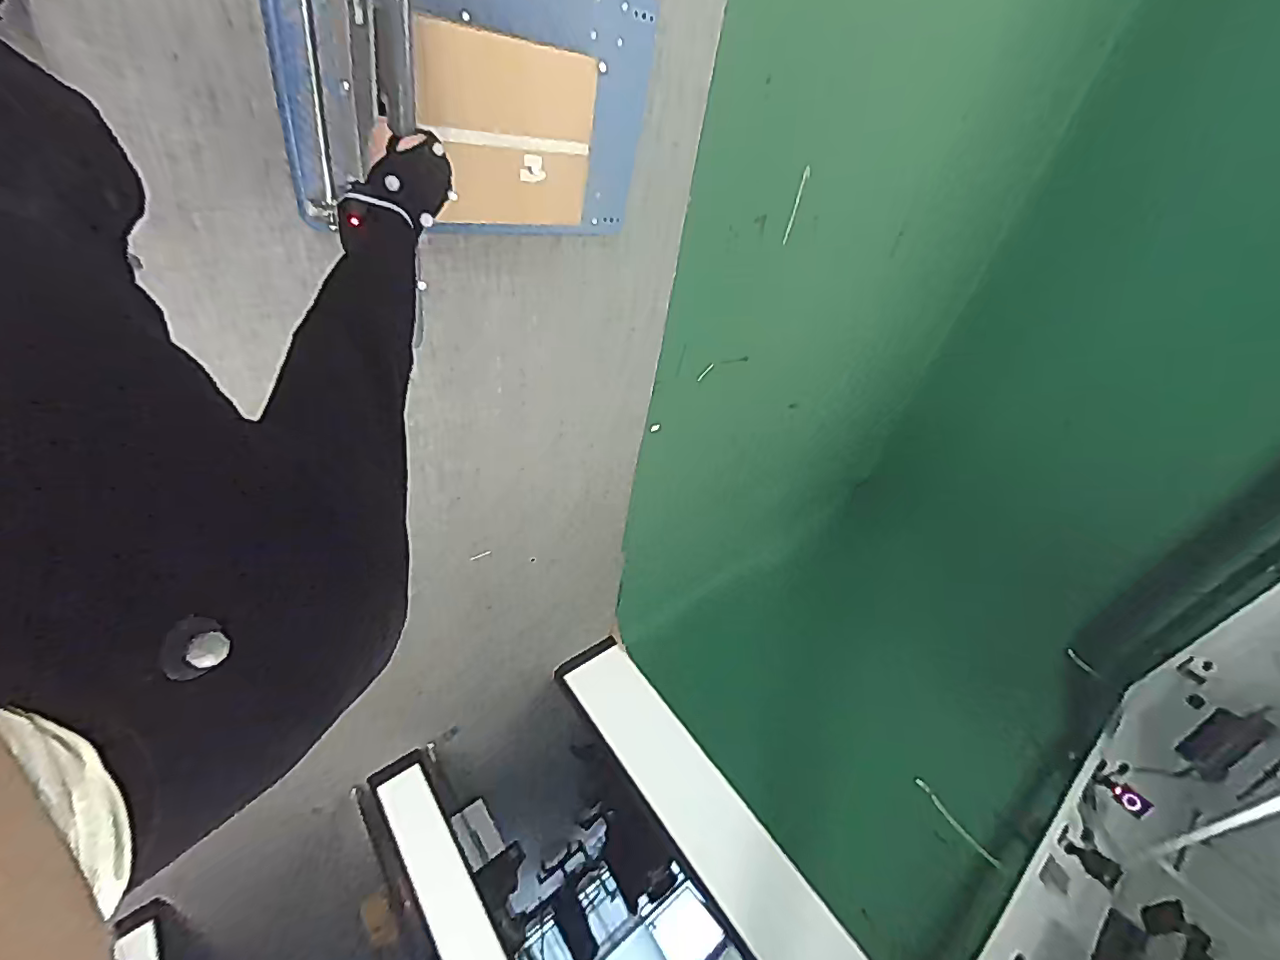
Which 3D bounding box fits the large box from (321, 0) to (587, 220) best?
[{"bbox_3d":[-0.374,-0.750,1.119,0.408,0.320,0.320,-19,139,-35],"label":"large box"}]
